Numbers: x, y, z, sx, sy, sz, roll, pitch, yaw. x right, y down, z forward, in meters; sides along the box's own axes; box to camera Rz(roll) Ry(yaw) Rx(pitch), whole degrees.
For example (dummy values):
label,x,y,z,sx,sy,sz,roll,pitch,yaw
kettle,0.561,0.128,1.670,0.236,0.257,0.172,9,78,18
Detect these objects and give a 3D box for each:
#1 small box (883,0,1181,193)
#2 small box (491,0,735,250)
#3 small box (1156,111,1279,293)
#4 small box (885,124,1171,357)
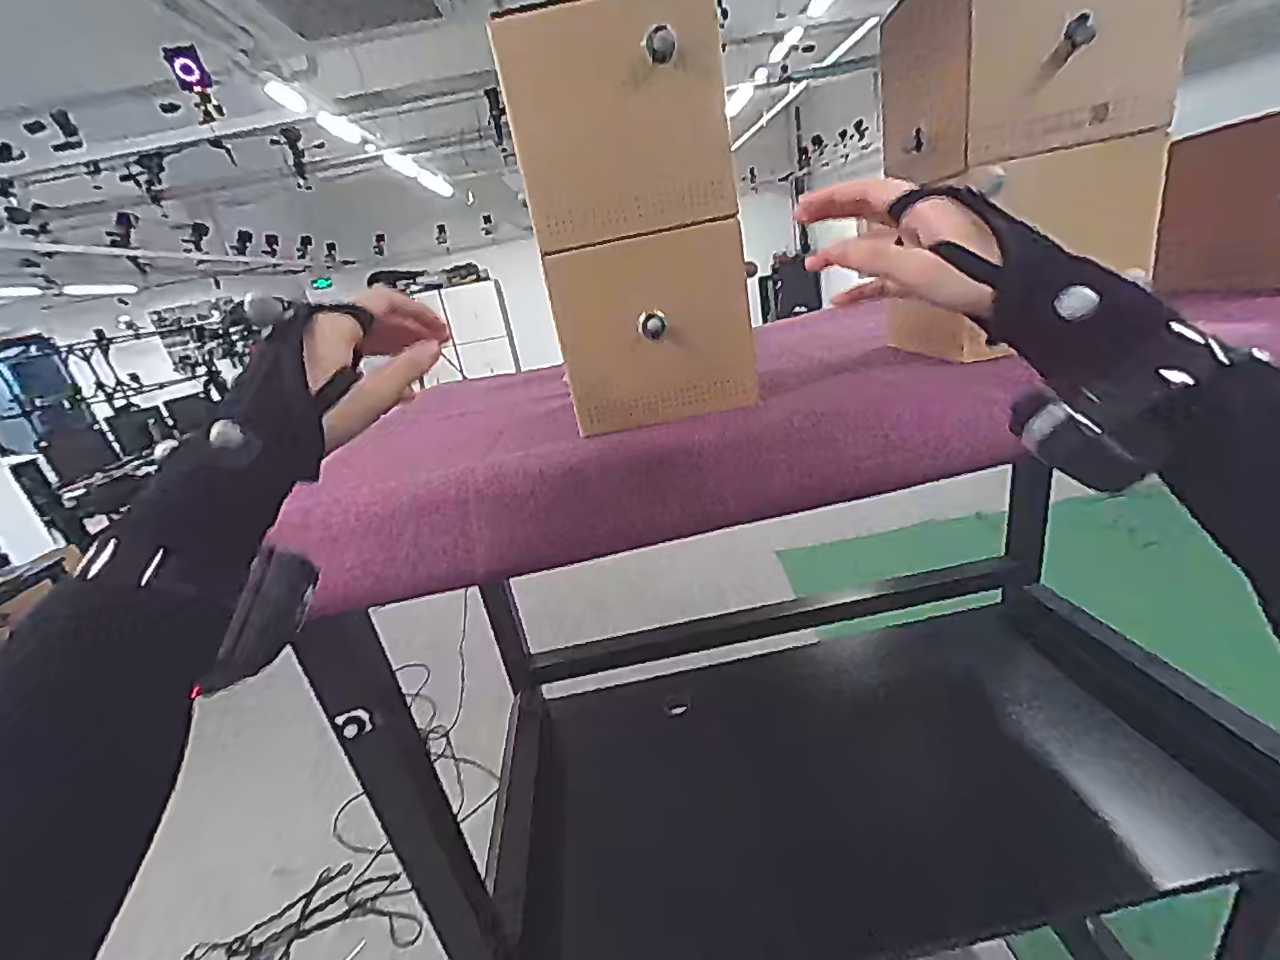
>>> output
label,x,y,z,sx,sy,sz,roll,pitch,yaw
small box,0.342,-0.379,0.496,0.168,0.176,0.179,-9,20,4
small box,-0.014,-0.316,0.498,0.179,0.176,0.168,-11,20,1
small box,0.704,-0.297,0.564,0.168,0.176,0.179,-12,18,-3
small box,0.369,-0.226,0.549,0.168,0.176,0.179,-9,19,4
